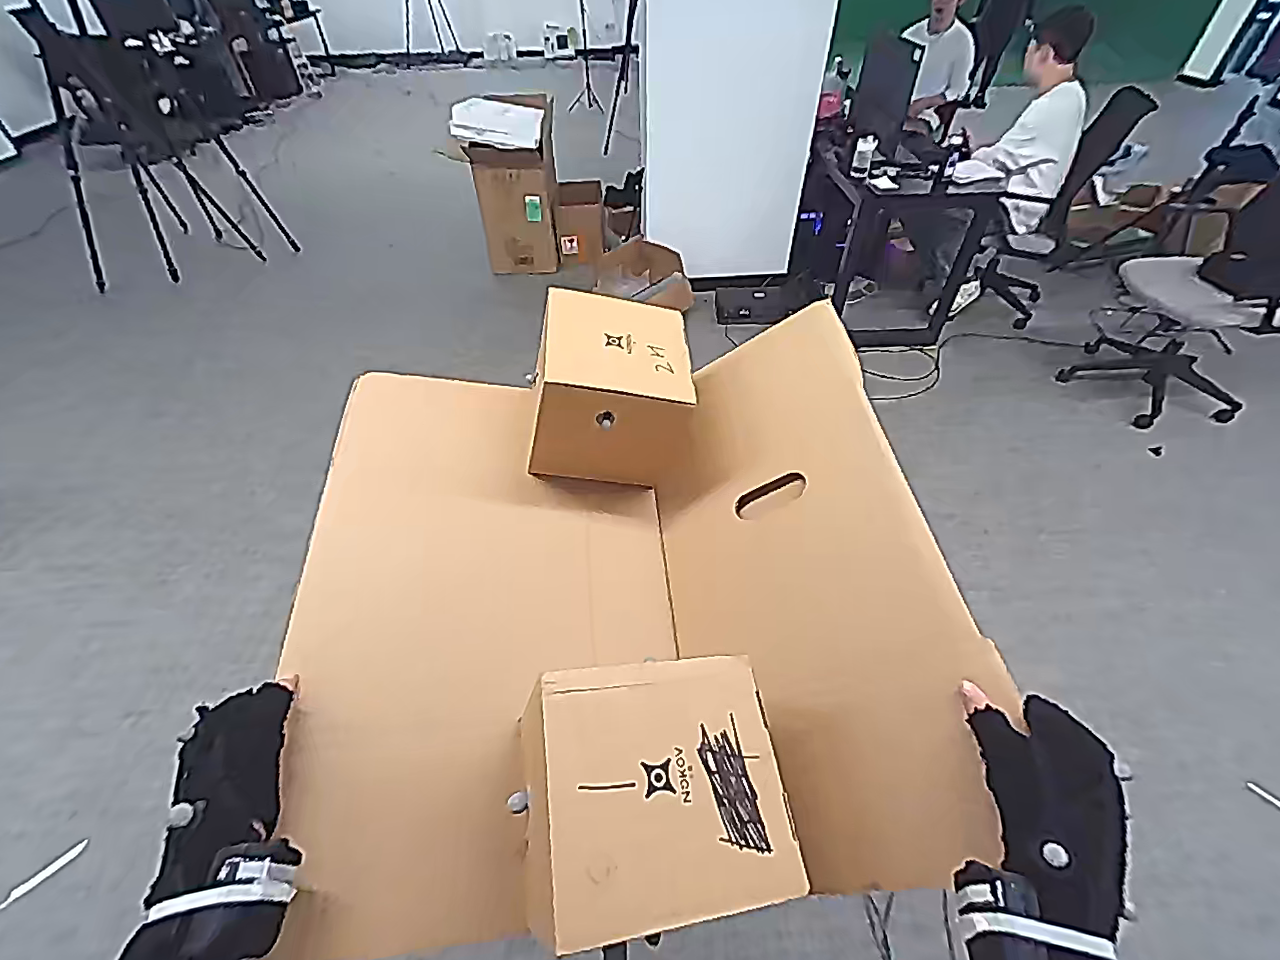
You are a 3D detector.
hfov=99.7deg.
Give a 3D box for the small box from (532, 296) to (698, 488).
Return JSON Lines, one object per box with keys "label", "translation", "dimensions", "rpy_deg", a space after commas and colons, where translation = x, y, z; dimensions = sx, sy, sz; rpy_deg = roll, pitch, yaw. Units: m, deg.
{"label": "small box", "translation": [-0.041, -0.105, 0.701], "dimensions": [0.179, 0.176, 0.168], "rpy_deg": [8, 54, -14]}
